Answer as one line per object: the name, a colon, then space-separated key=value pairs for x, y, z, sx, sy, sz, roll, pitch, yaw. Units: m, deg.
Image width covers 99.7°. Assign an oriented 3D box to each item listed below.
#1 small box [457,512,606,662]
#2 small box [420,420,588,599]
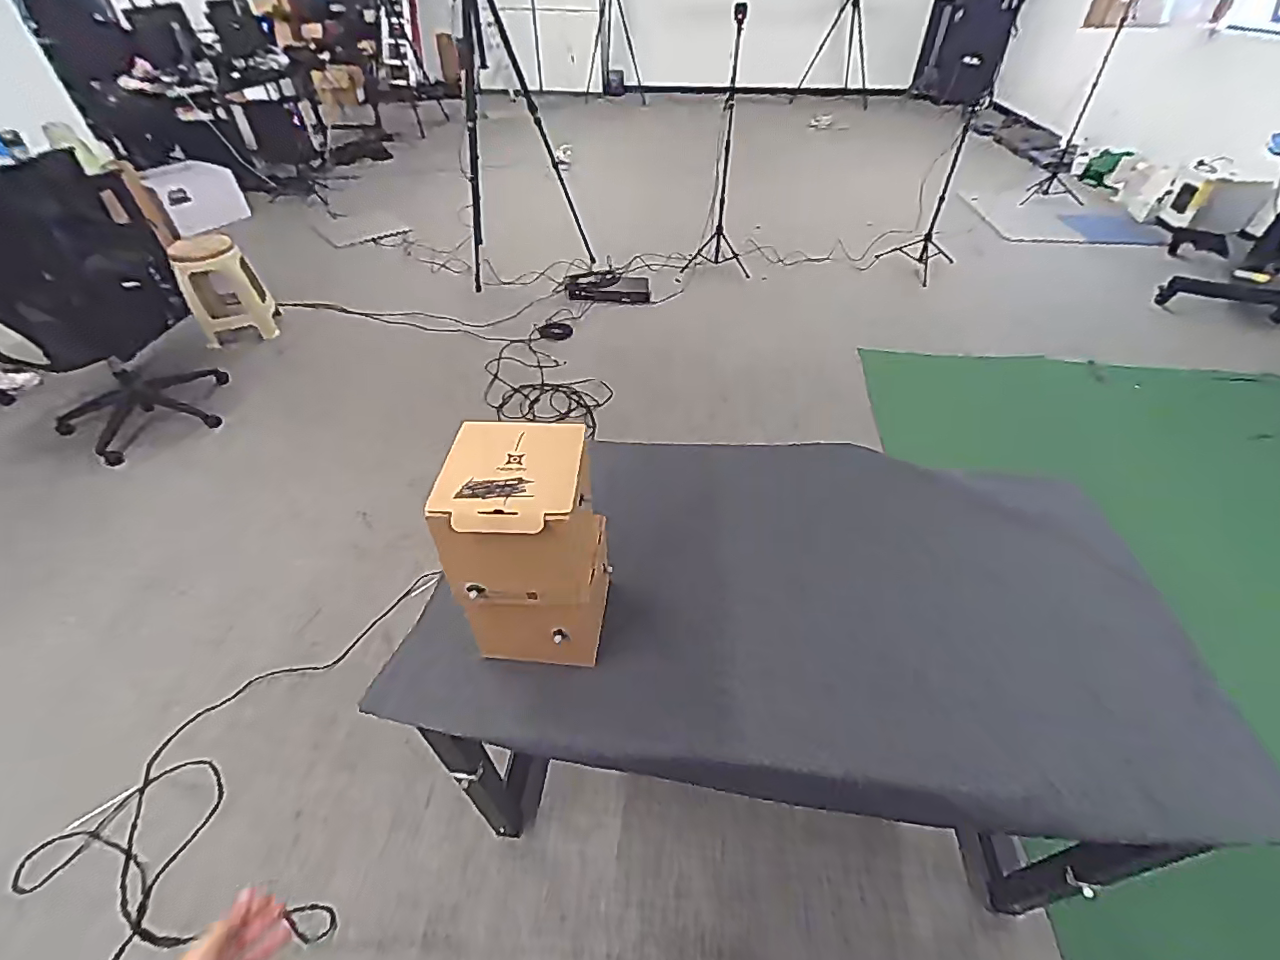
small box: x=-0.150 y=0.159 z=0.822 sx=0.179 sy=0.176 sz=0.168 roll=3 pitch=42 yaw=5
small box: x=-0.160 y=0.040 z=0.708 sx=0.168 sy=0.176 sz=0.179 roll=1 pitch=42 yaw=1
